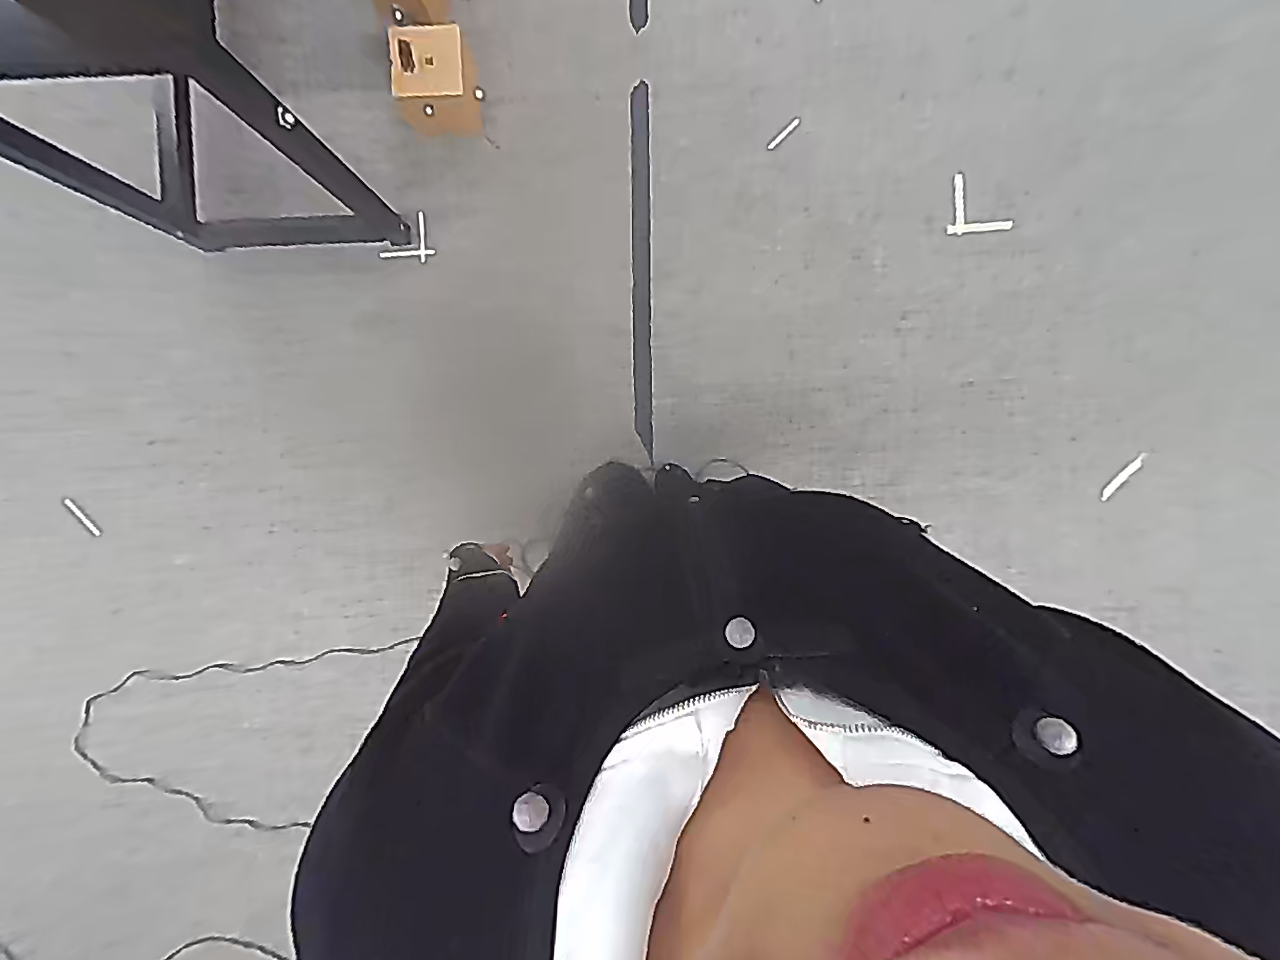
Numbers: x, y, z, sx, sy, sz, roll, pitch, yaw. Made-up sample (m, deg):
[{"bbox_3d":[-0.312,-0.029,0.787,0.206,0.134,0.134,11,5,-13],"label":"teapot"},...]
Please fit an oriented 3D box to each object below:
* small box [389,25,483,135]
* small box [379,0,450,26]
[{"bbox_3d":[-0.516,-1.015,1.384,0.179,0.176,0.168,-2,93,0],"label":"small box"},{"bbox_3d":[-0.590,-1.307,1.372,0.168,0.176,0.179,20,94,1],"label":"small box"}]
